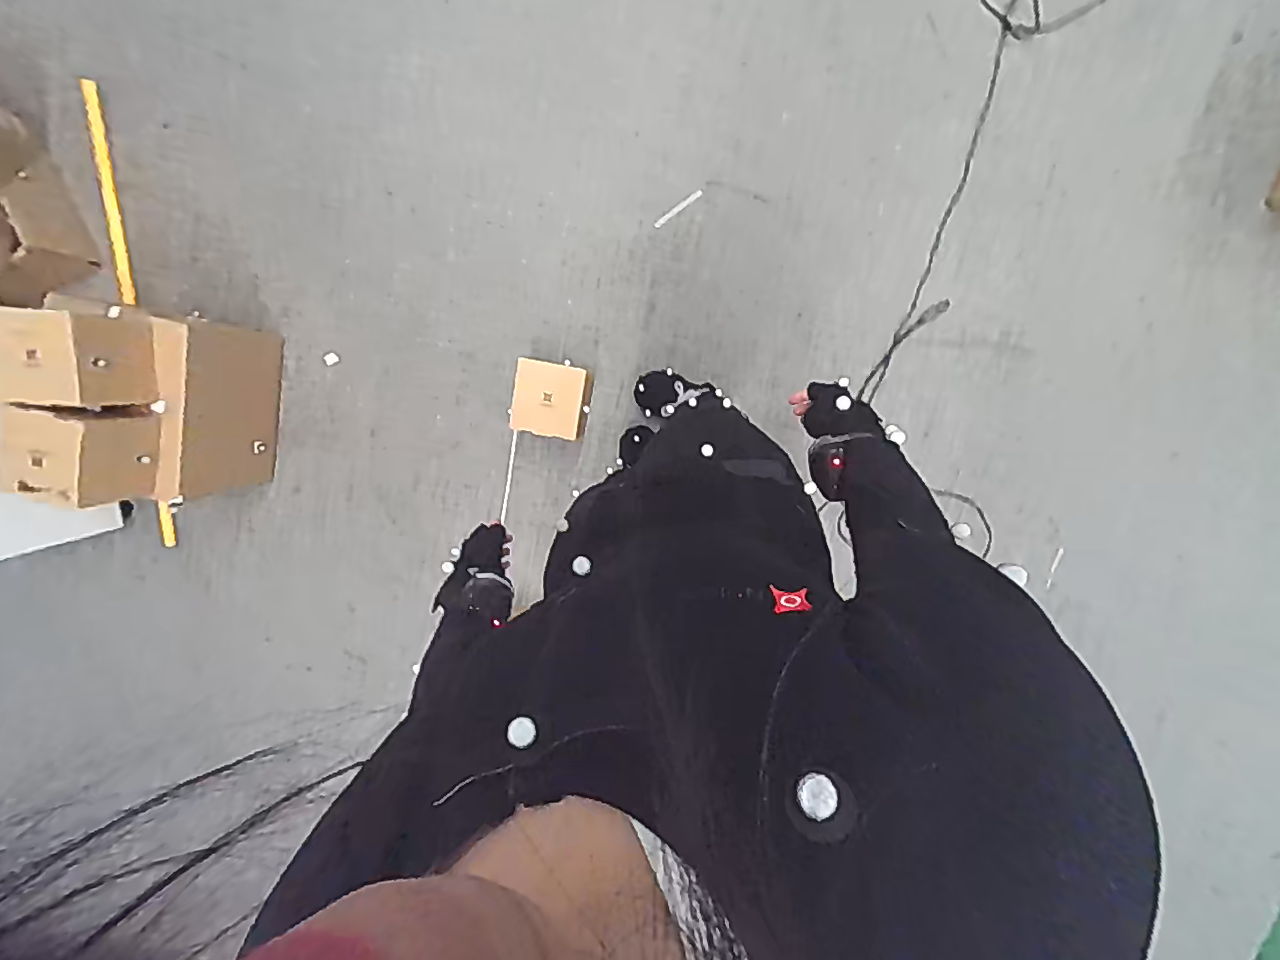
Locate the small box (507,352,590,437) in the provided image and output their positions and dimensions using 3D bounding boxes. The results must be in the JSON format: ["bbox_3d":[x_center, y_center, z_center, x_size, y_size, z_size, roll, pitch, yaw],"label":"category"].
[{"bbox_3d":[-0.223,-0.217,1.358,0.168,0.176,0.179,10,101,-1],"label":"small box"}]
